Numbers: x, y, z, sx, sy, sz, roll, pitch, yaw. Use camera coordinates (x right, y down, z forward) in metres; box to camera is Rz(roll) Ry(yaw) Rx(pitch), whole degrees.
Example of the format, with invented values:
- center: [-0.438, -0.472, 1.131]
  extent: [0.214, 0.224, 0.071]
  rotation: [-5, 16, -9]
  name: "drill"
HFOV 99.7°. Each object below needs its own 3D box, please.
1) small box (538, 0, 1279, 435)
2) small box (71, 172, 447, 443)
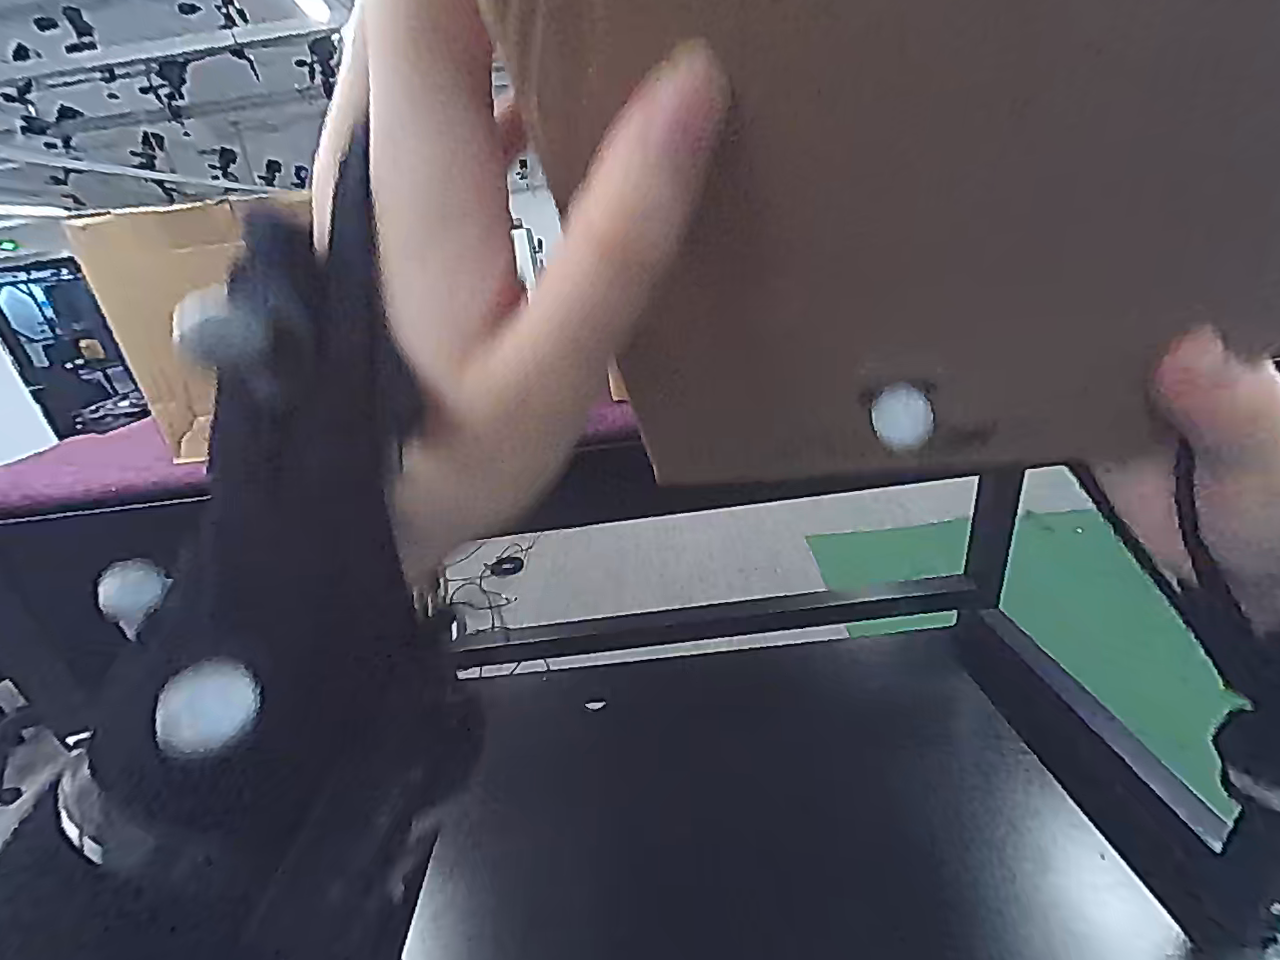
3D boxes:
- center: [0.073, -0.133, 0.159]
  extent: [0.168, 0.176, 0.179]
  rotation: [-3, 63, 12]
  name: "small box"
- center: [-0.271, -0.139, 0.443]
  extent: [0.168, 0.176, 0.179]
  rotation: [-8, 24, -2]
  name: "small box"
